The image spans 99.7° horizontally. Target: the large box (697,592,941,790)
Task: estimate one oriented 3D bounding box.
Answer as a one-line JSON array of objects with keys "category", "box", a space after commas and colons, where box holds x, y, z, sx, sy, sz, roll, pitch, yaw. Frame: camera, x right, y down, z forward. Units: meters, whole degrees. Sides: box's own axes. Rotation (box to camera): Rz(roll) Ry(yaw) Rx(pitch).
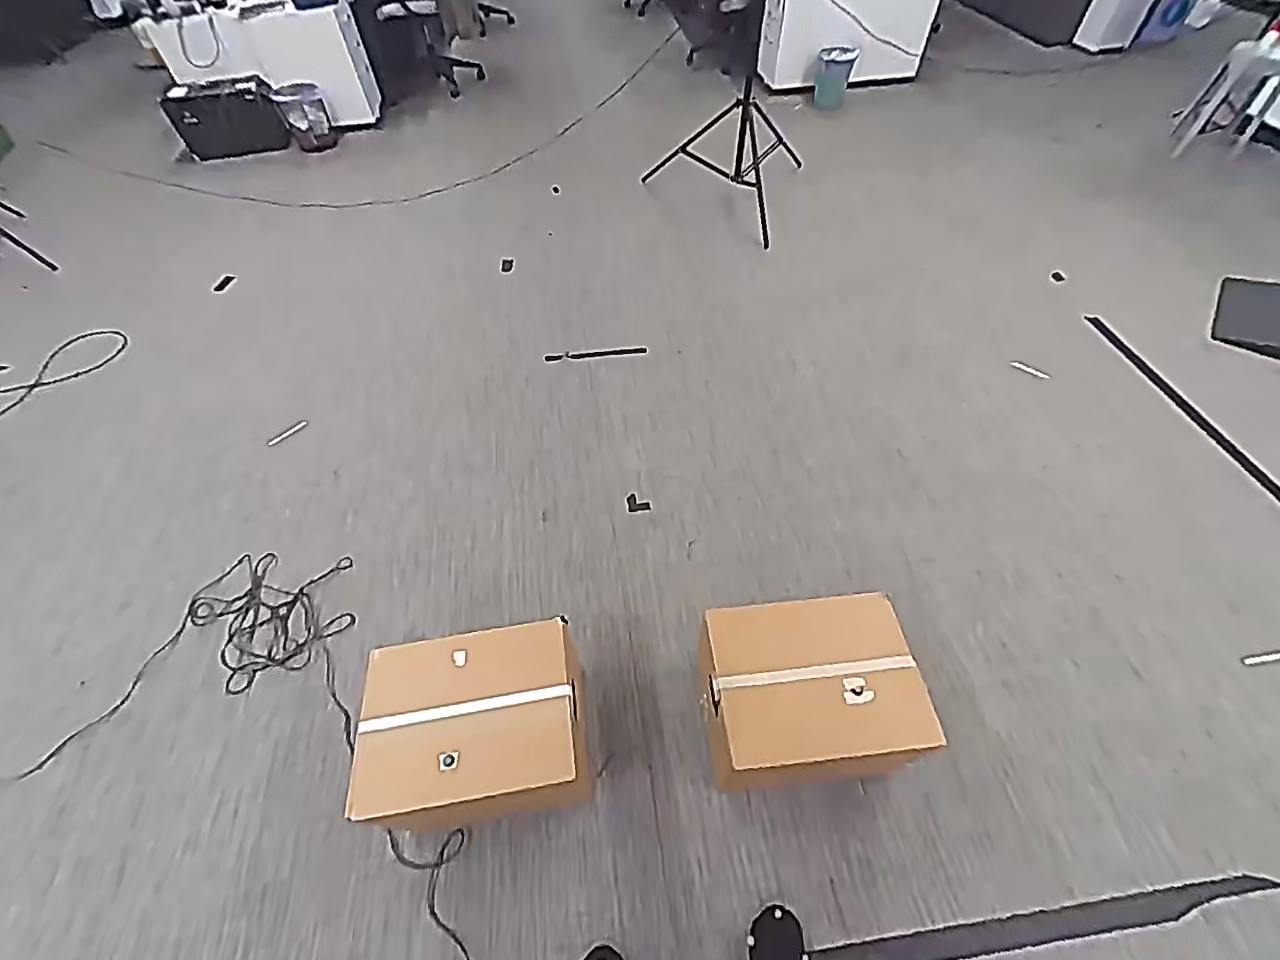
[{"category": "large box", "box": [0.358, 0.476, 1.211, 0.408, 0.320, 0.320, -5, 53, -3]}]
